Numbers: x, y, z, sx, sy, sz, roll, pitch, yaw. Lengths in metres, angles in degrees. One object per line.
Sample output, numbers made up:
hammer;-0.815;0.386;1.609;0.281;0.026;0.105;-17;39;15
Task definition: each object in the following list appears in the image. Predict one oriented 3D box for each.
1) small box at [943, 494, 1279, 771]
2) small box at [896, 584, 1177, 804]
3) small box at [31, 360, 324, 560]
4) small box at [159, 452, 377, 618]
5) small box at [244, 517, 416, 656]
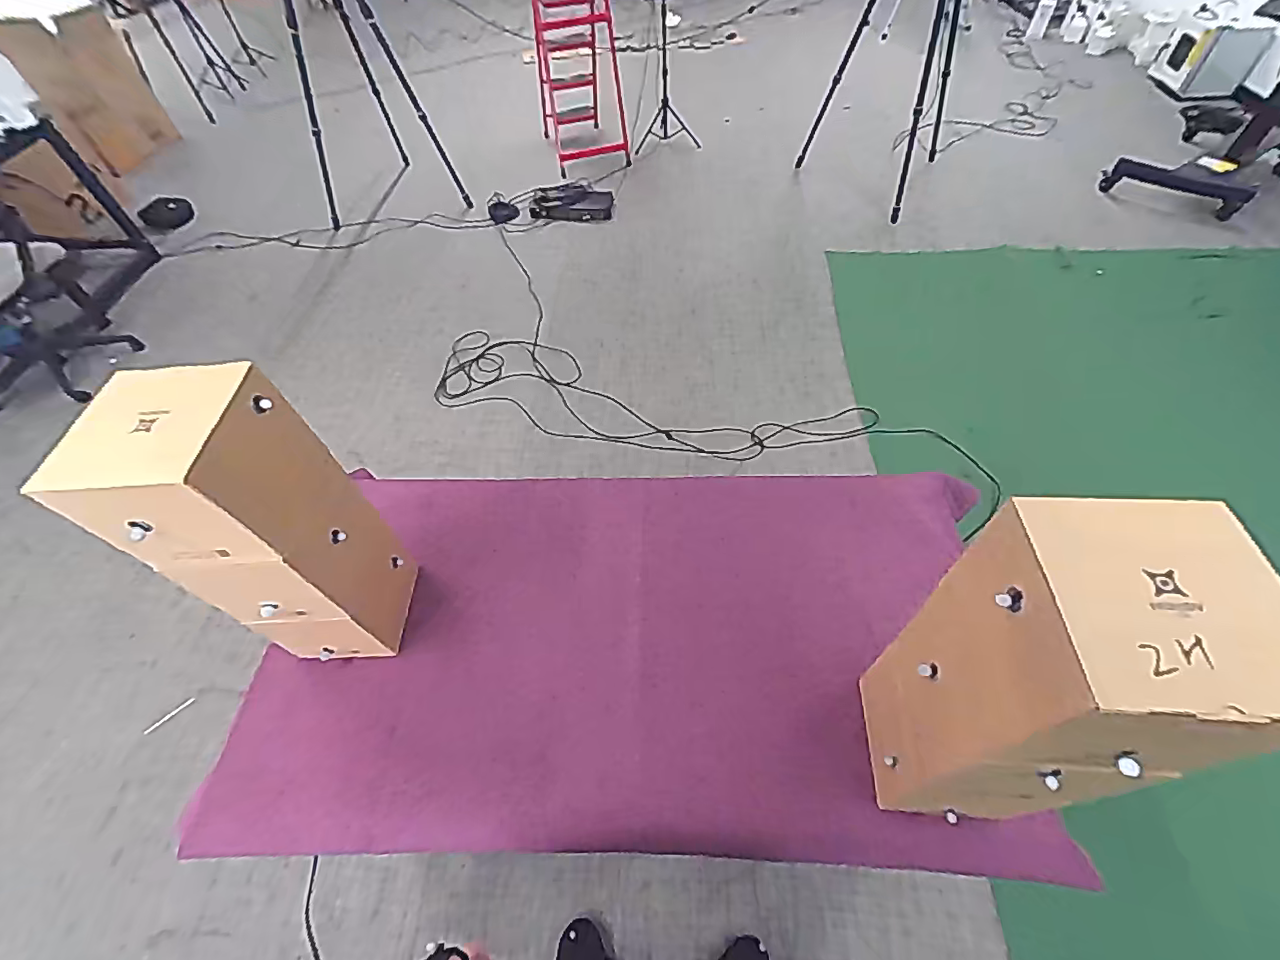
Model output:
small box;0.389;0.131;0.462;0.168;0.176;0.179;1;54;6
small box;0.400;0.234;0.591;0.168;0.176;0.179;2;52;7
small box;-0.513;-0.015;0.639;0.168;0.176;0.179;-4;53;2
small box;-0.503;0.081;0.769;0.168;0.176;0.179;-3;54;3
small box;-0.495;0.179;0.900;0.168;0.176;0.179;-3;54;2
